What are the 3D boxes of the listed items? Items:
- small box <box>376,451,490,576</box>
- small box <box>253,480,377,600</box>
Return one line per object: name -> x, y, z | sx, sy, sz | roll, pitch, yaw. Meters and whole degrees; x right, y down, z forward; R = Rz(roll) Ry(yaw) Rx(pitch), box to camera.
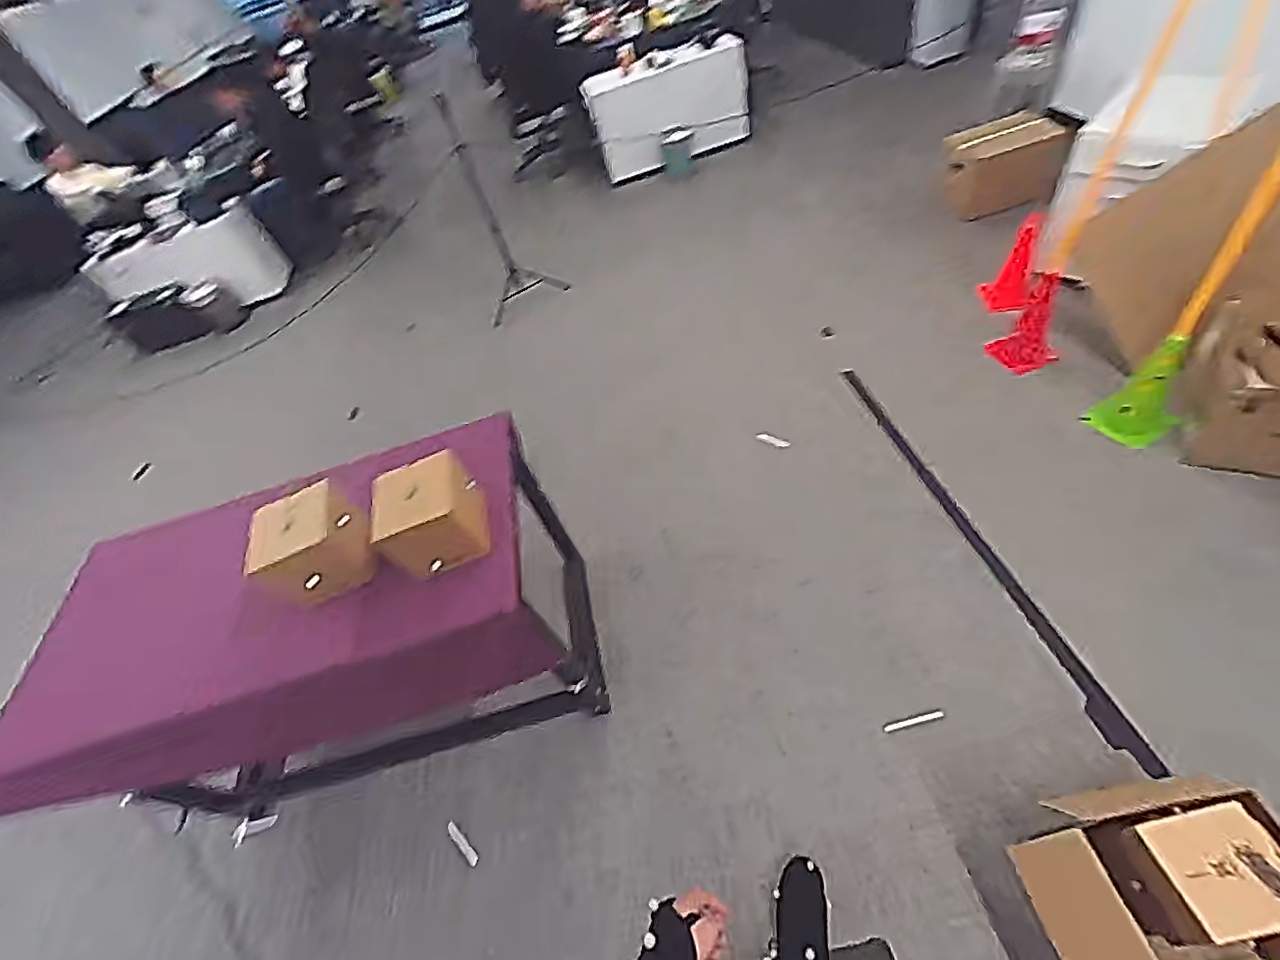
small box -> -0.435, 0.075, 1.156 | 0.168, 0.176, 0.179 | -21, 49, 1
small box -> -0.698, 0.139, 1.182 | 0.168, 0.176, 0.179 | -24, 49, -4
